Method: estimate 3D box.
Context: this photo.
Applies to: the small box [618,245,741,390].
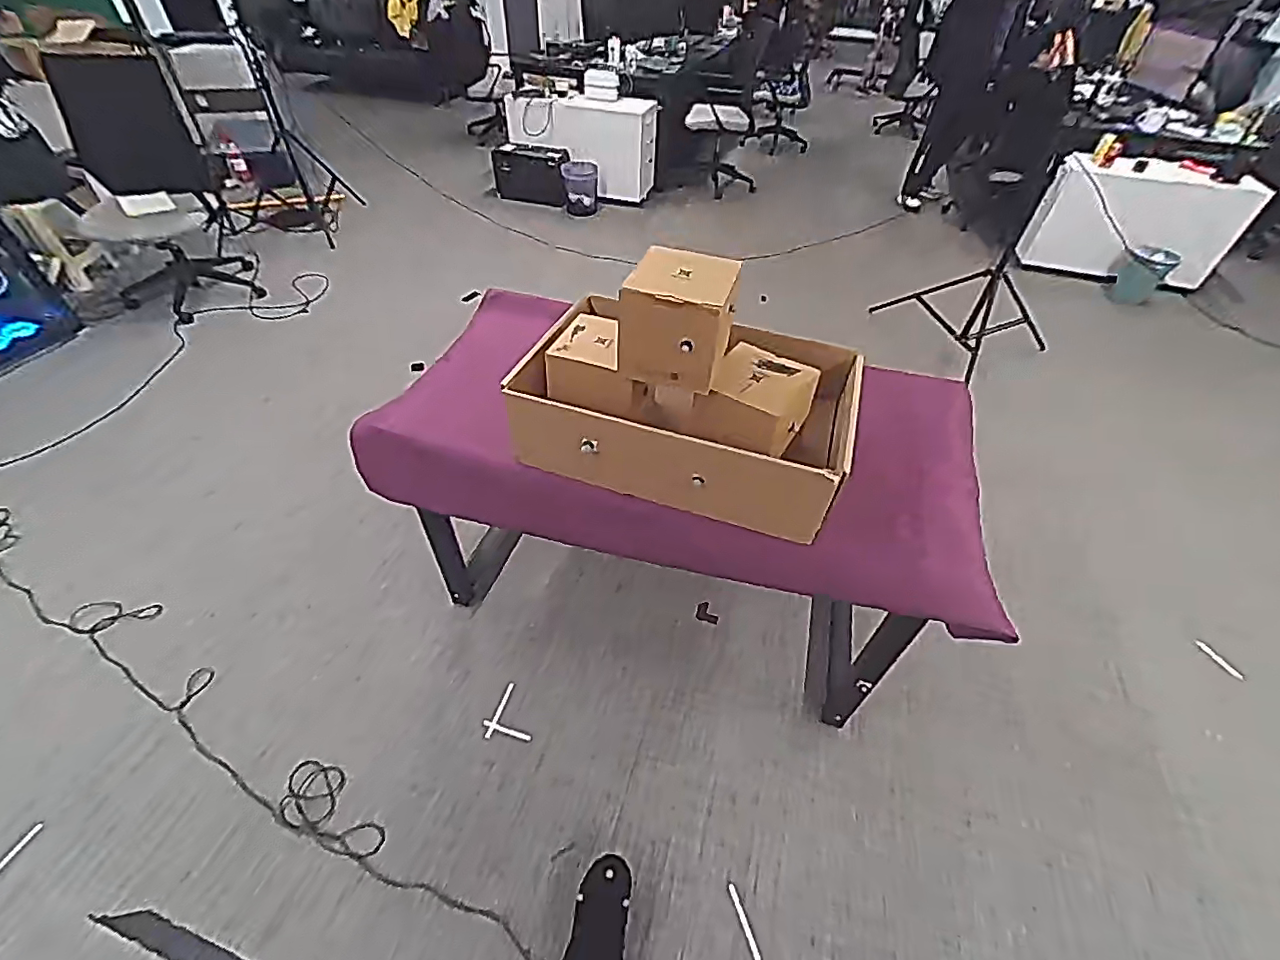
[{"bbox_3d":[0.067,-0.278,0.932,0.168,0.176,0.179,15,46,10],"label":"small box"}]
